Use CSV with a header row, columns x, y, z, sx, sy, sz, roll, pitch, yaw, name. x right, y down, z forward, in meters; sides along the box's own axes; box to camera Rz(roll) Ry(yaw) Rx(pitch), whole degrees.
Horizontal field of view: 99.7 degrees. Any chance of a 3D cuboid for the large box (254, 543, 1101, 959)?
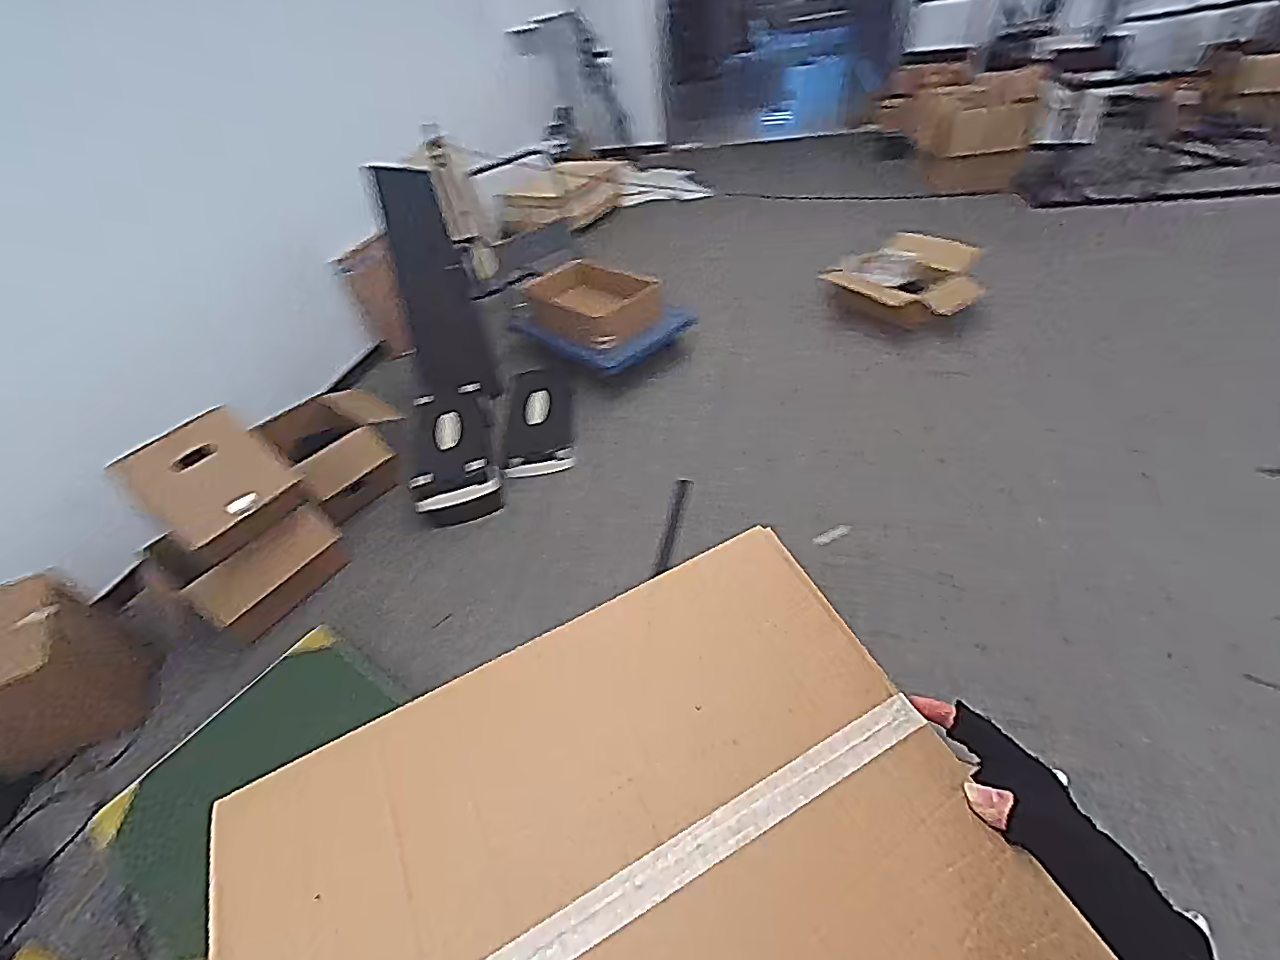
x,y,z,sx,sy,sz,roll,pitch,yaw,name
0.012,0.320,0.414,0.408,0.320,0.320,-24,53,-11,large box
